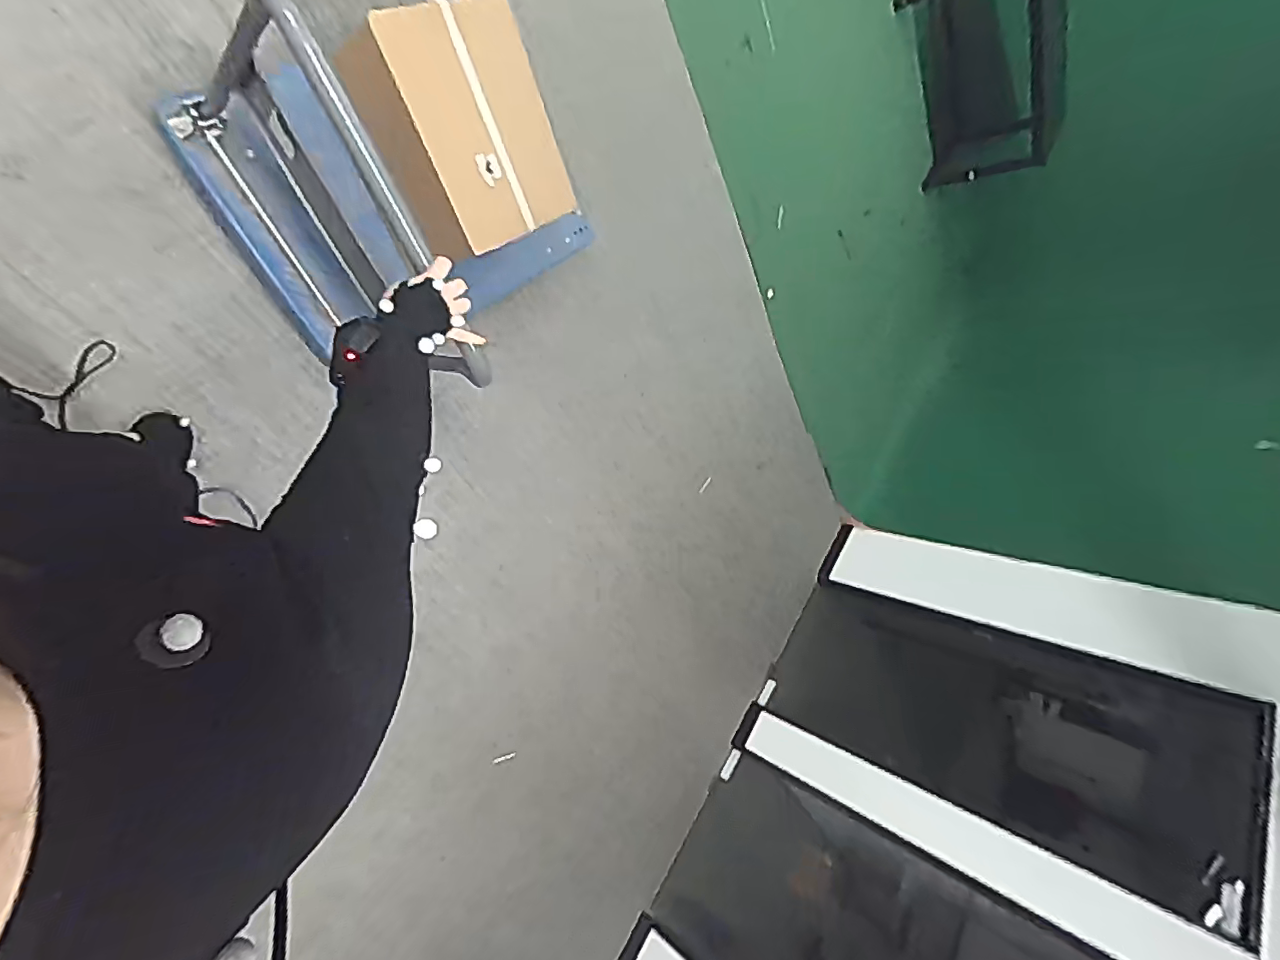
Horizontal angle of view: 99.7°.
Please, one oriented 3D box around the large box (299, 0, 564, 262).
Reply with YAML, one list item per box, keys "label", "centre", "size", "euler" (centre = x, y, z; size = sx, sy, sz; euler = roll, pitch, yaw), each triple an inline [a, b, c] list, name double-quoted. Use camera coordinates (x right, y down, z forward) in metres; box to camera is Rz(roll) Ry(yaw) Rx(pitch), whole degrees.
- label: "large box"
  centre: [-0.439, -0.744, 1.182]
  size: [0.320, 0.320, 0.408]
  euler: [-43, 128, -32]
